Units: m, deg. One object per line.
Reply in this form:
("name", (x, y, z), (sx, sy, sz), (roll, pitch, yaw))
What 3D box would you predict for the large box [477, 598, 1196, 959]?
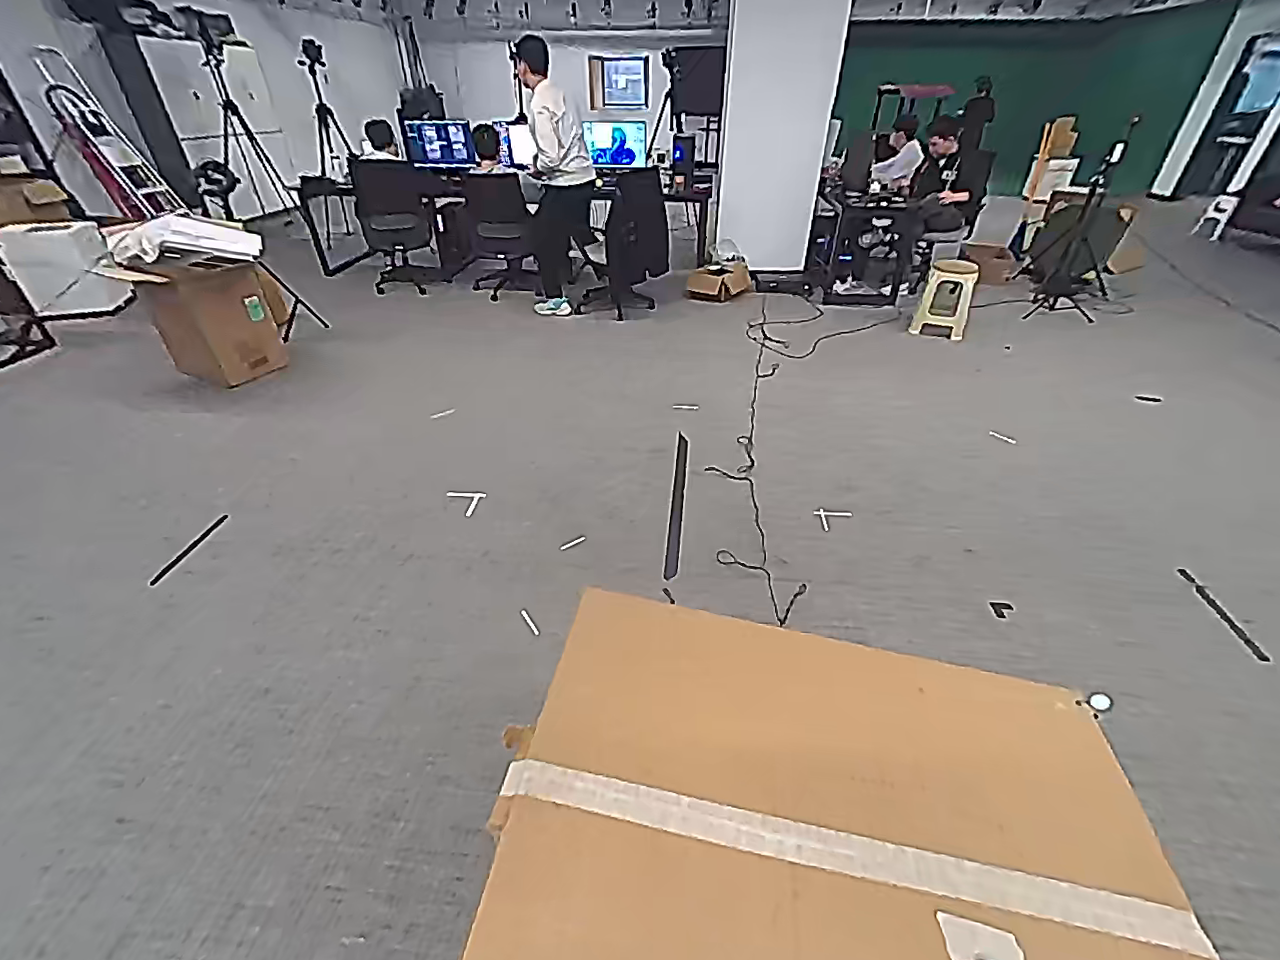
("large box", (0.104, 0.343, 0.423), (0.408, 0.320, 0.320), (12, 40, 3))
